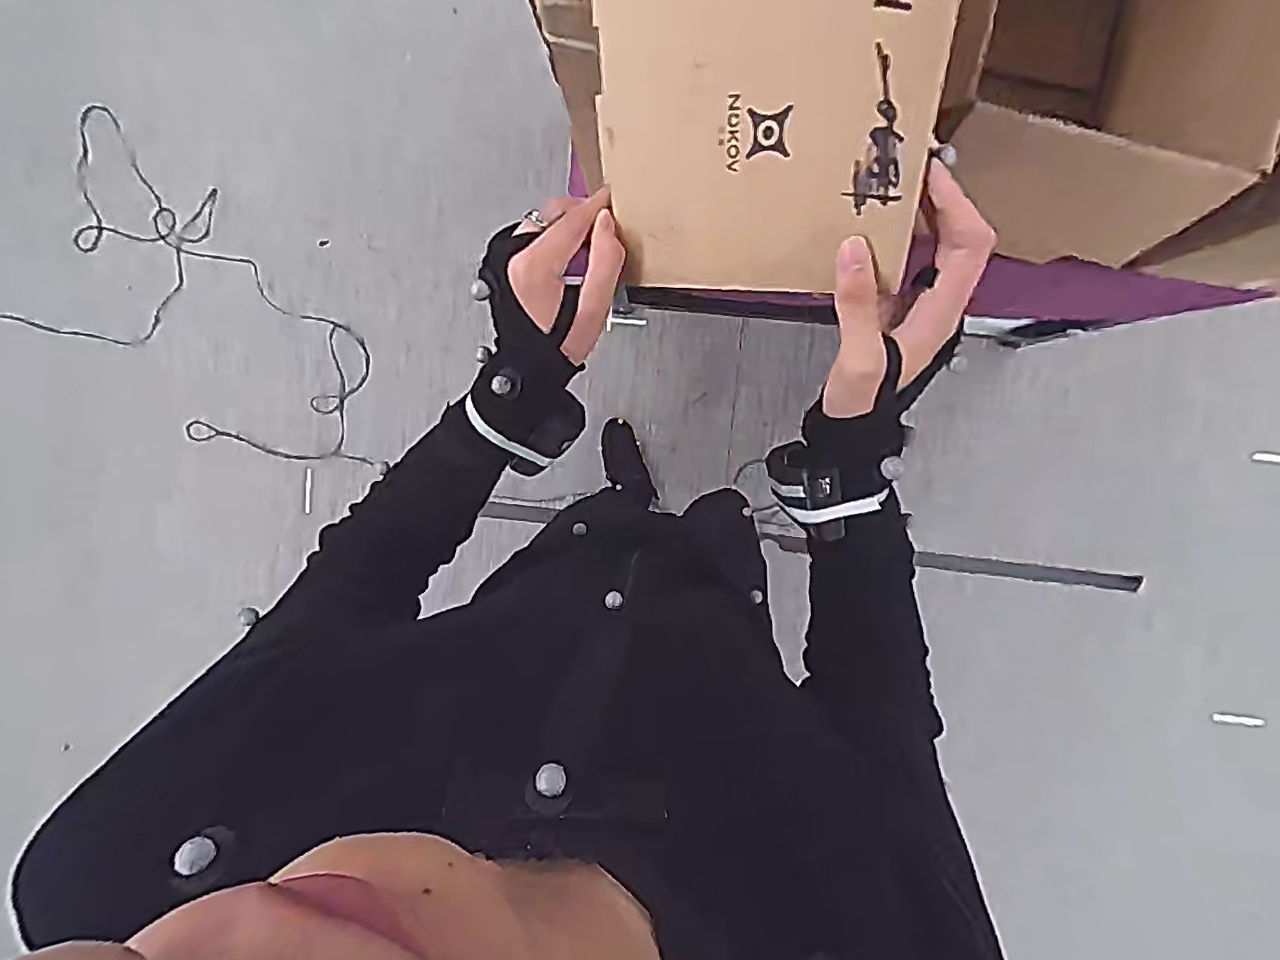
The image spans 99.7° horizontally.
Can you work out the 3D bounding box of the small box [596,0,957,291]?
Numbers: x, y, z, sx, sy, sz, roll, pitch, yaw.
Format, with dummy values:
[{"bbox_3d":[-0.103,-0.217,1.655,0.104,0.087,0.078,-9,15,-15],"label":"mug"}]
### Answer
[{"bbox_3d":[0.090,-0.233,0.346,0.179,0.176,0.168,10,128,20],"label":"small box"}]
